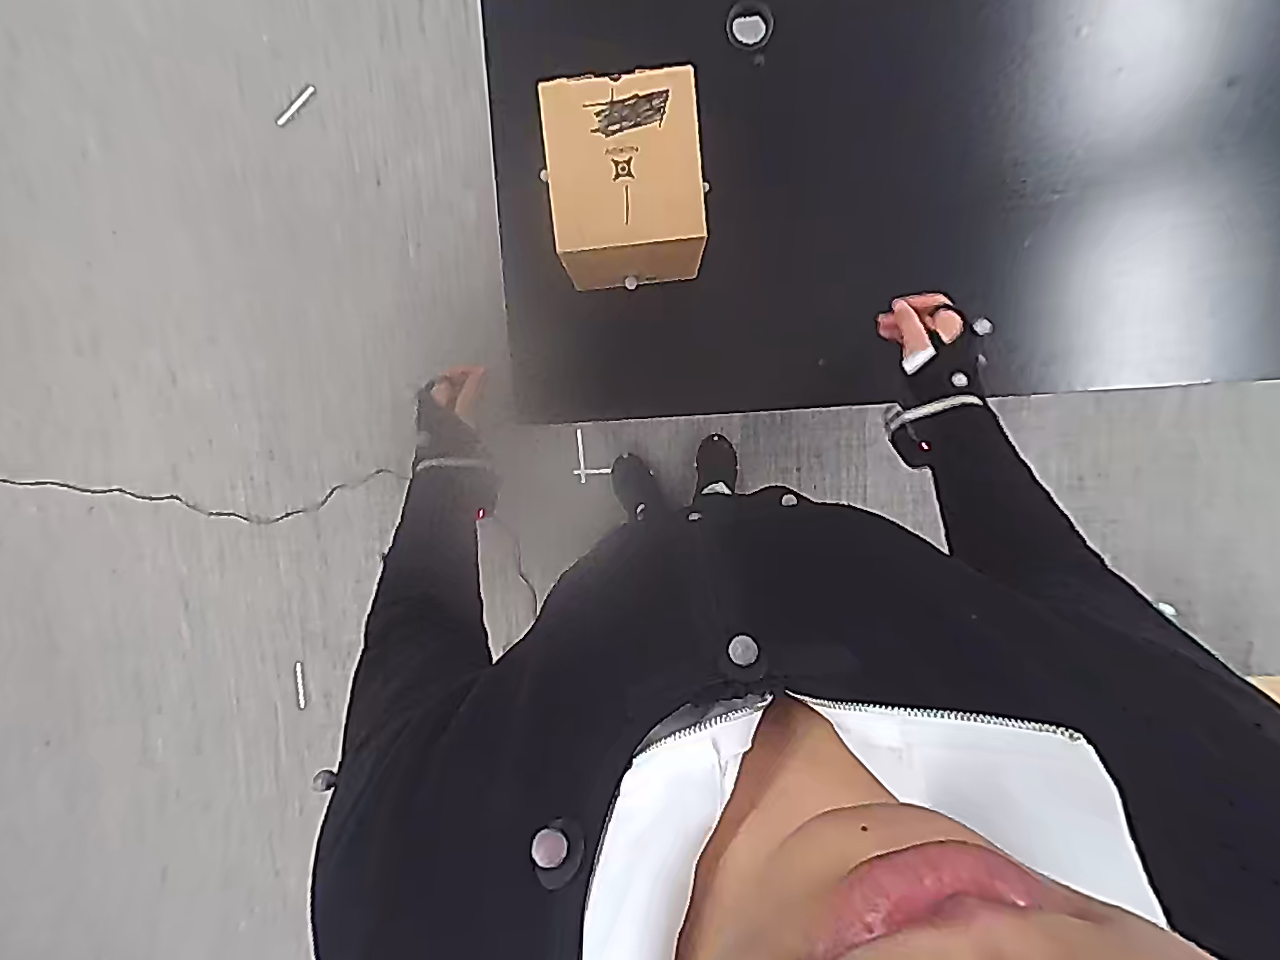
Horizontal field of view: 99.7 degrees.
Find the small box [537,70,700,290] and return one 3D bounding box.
[{"bbox_3d":[-0.021,-0.348,0.659,0.168,0.176,0.179,-5,96,2],"label":"small box"}]
